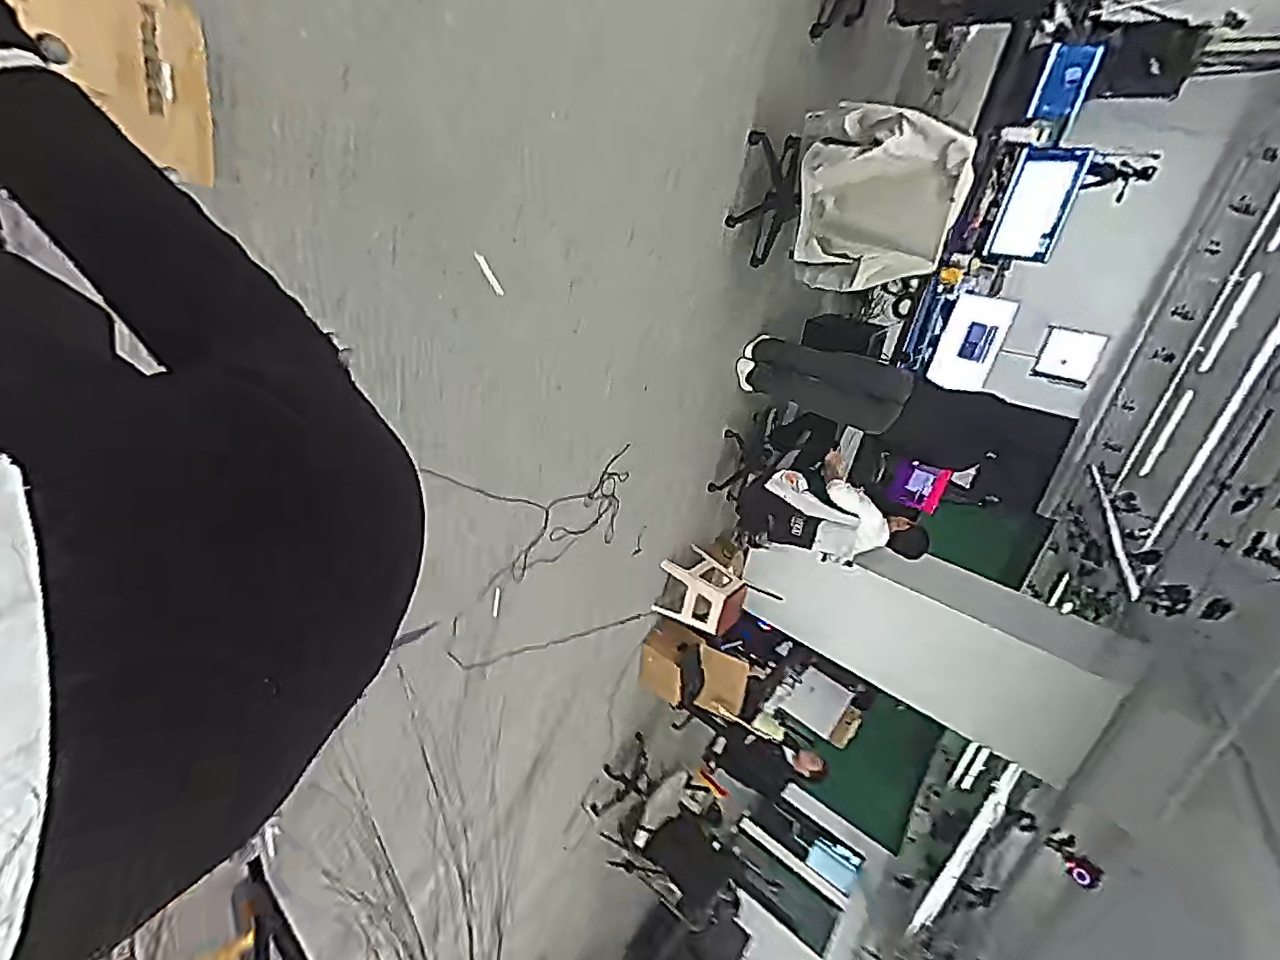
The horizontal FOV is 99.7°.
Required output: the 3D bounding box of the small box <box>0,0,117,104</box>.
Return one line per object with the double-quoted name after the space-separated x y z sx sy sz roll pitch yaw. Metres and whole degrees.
-0.768 -0.586 0.651 0.168 0.176 0.179 -11 120 -52 "small box"
